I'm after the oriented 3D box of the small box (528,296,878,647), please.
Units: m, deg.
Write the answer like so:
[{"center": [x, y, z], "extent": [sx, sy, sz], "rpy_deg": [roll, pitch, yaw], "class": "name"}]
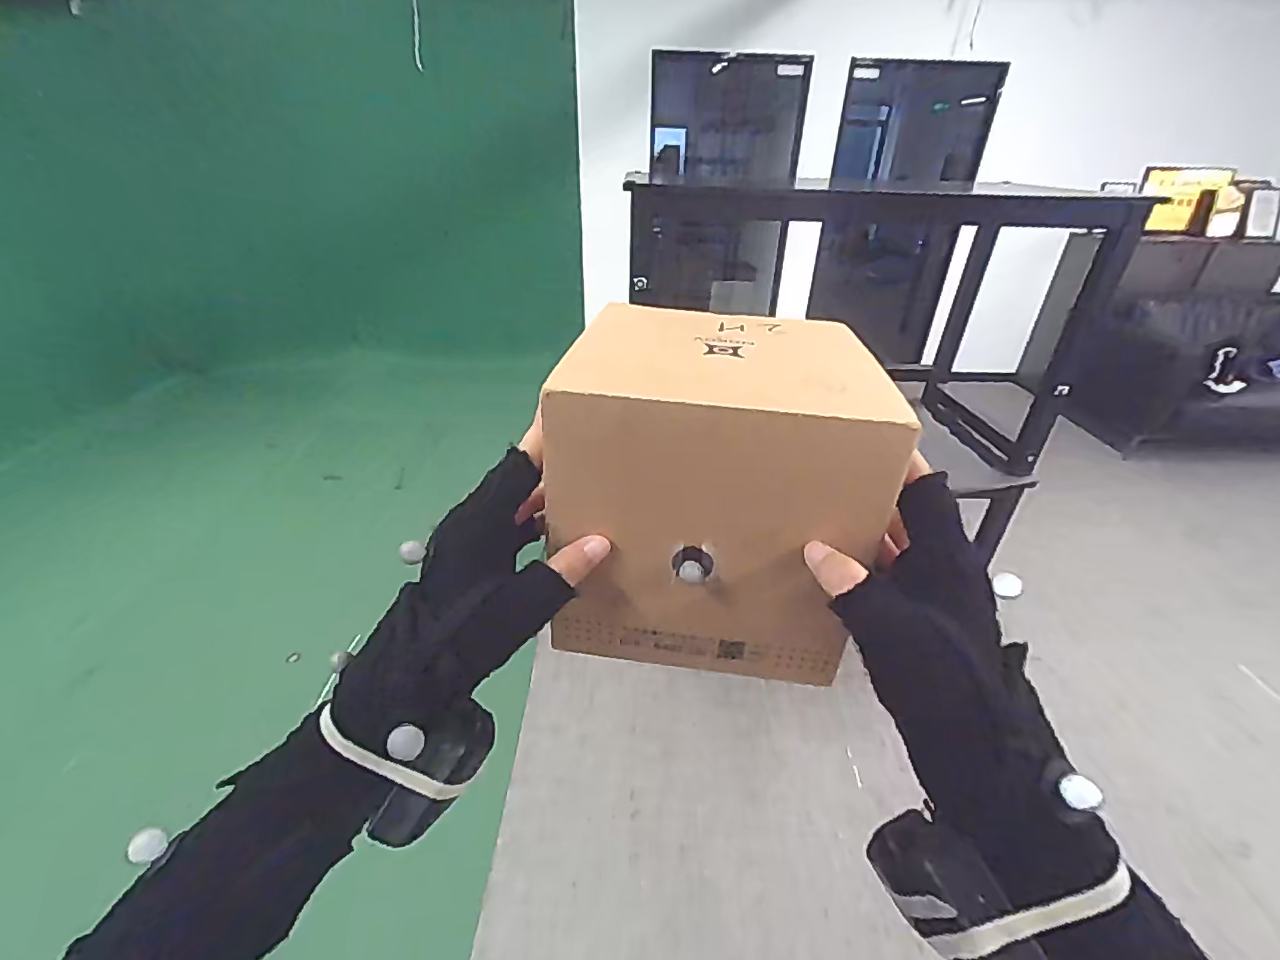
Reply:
[{"center": [0.036, -0.016, 0.359], "extent": [0.168, 0.176, 0.179], "rpy_deg": [7, 29, 5], "class": "small box"}]
